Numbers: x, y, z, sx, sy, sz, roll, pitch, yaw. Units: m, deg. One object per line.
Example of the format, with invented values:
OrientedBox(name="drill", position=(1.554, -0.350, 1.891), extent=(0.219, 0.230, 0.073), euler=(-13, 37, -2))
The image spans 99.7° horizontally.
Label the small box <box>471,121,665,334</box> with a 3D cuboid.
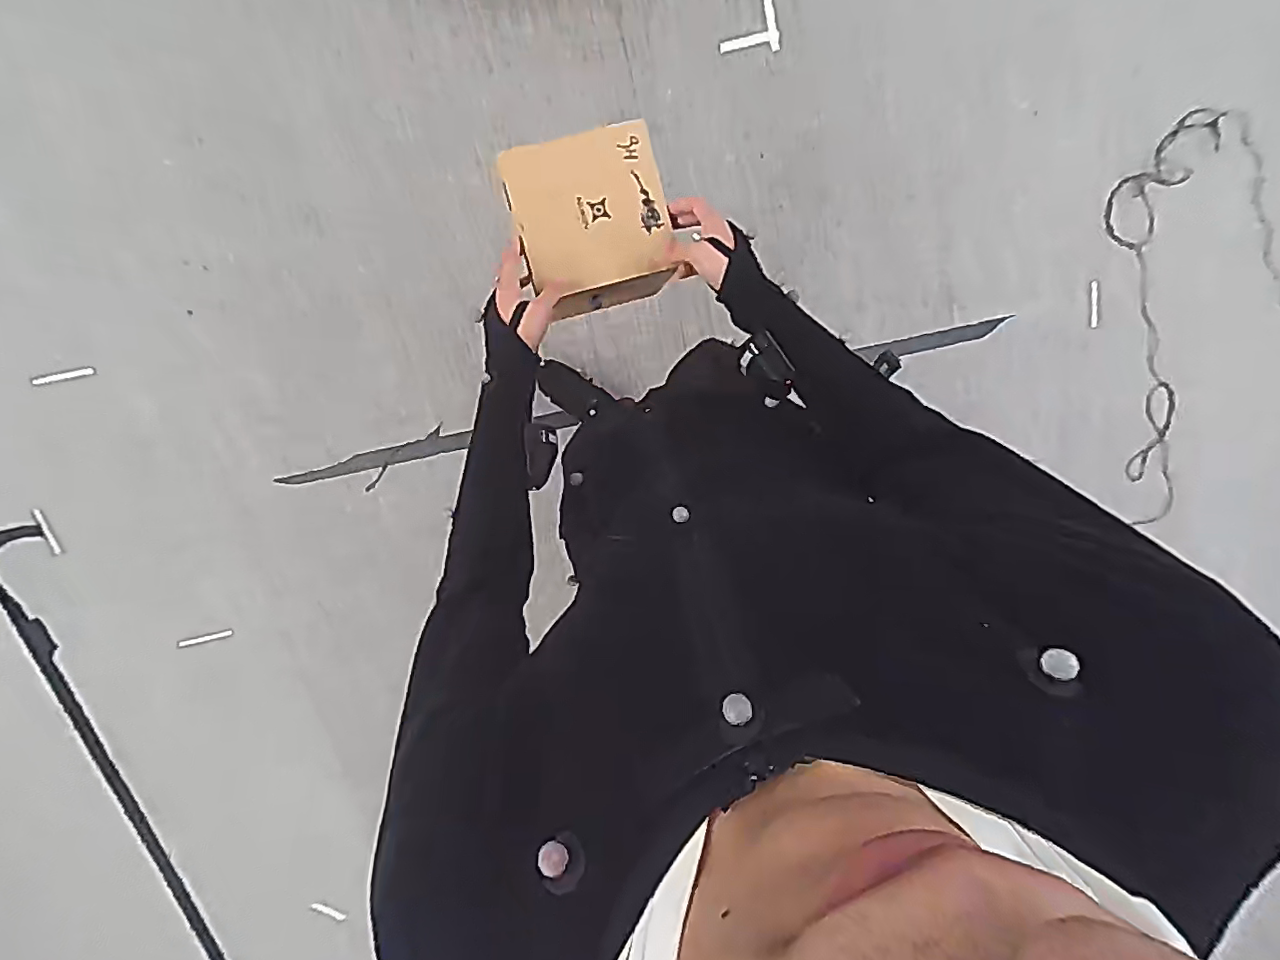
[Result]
OrientedBox(name="small box", position=(-0.085, -0.299, 0.681), extent=(0.179, 0.176, 0.168), euler=(-21, 97, -4))
